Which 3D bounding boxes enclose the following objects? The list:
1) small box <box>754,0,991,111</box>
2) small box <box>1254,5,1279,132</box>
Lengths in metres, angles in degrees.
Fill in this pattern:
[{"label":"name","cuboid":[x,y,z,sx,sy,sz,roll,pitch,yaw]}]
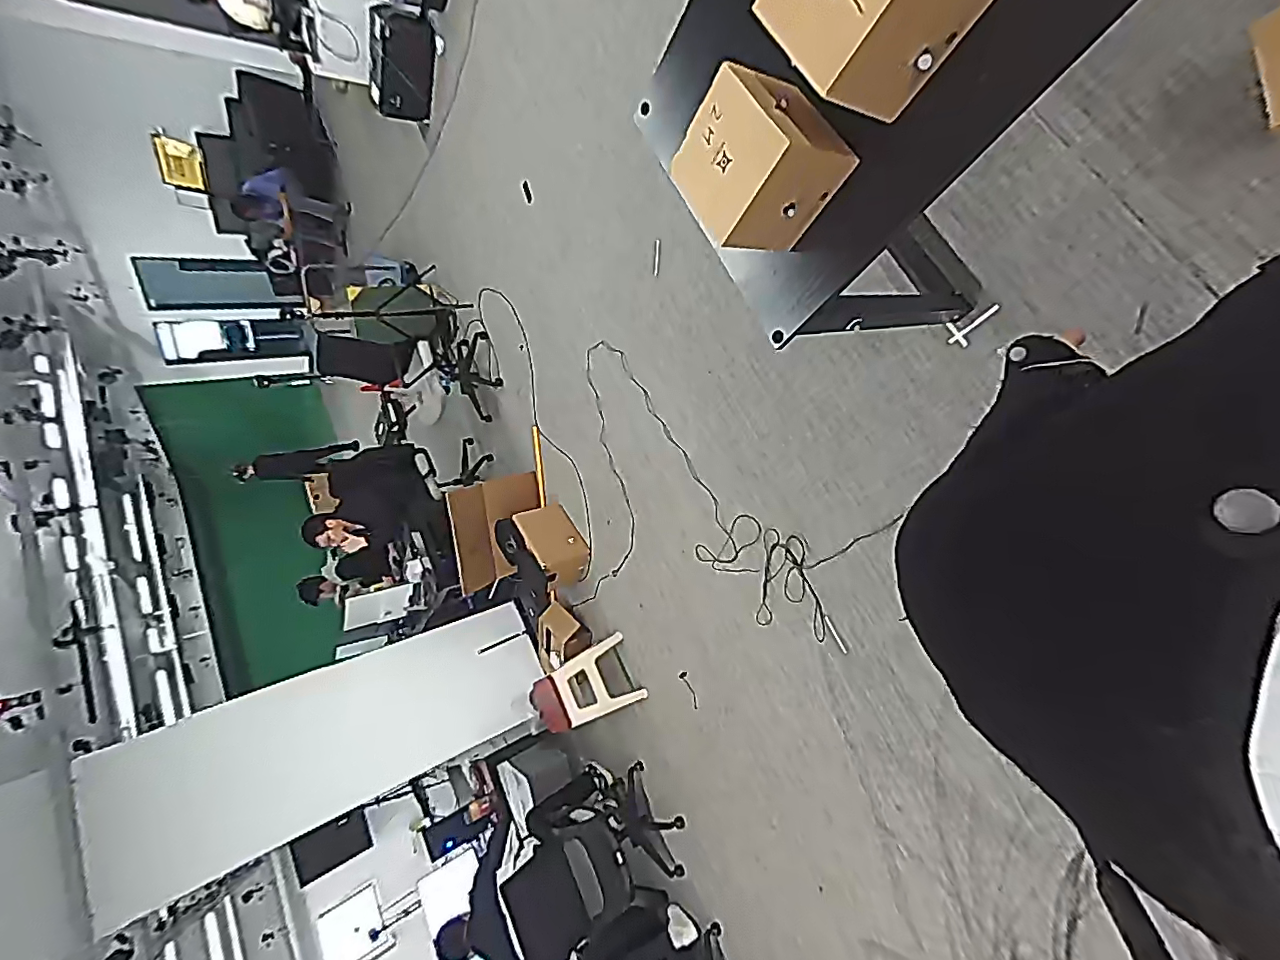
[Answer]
[{"label":"small box","cuboid":[0.279,-0.587,0.653,0.168,0.176,0.179,-46,65,50]},{"label":"small box","cuboid":[1.074,-0.657,0.810,0.179,0.176,0.168,-12,92,55]}]
